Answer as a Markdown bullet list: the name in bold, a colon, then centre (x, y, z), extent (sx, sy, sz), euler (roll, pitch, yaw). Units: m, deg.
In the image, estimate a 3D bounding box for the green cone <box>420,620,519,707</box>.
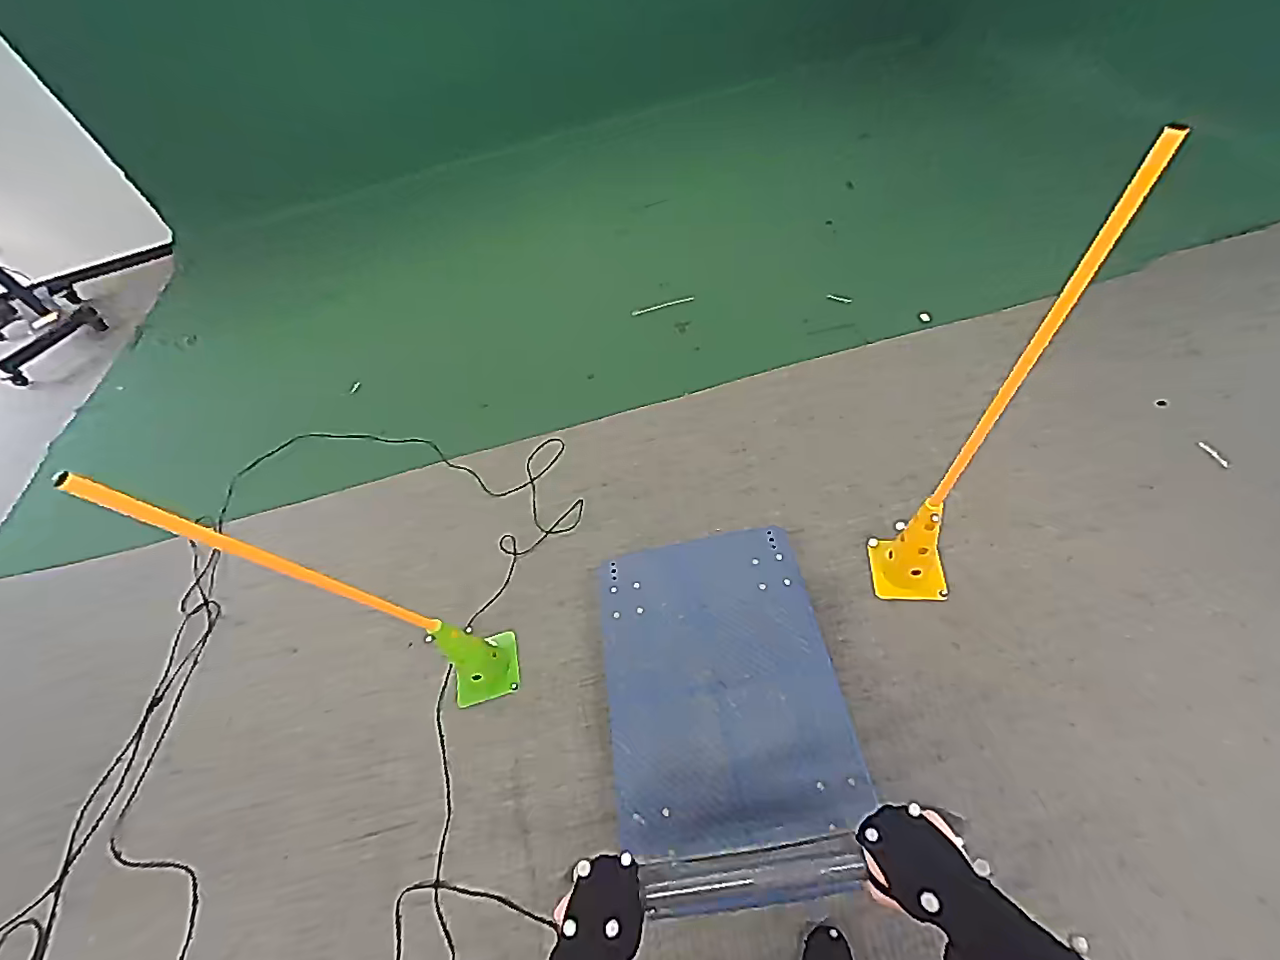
- **green cone**: centre (-0.518, 0.486, 1.562), extent (0.202, 0.368, 0.200), euler (-19, 51, 1)
